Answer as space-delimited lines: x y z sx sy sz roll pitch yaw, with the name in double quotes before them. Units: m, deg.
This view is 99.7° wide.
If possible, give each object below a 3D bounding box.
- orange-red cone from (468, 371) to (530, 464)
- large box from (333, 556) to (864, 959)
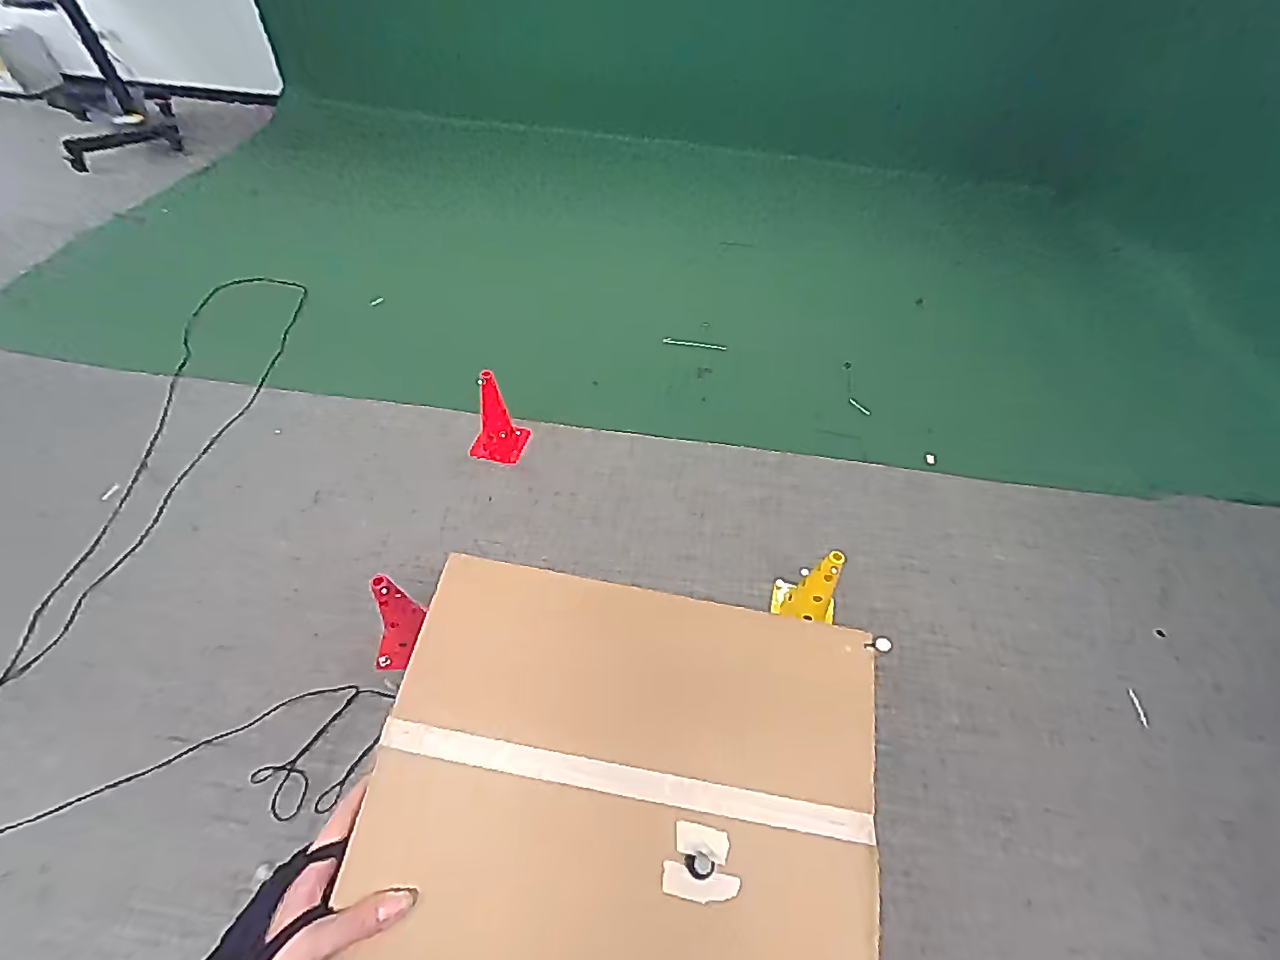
"orange-red cone" -0.556 -0.259 2.032 0.199 0.360 0.198 13 50 8
"large box" -0.018 0.303 0.590 0.408 0.320 0.320 10 66 2
